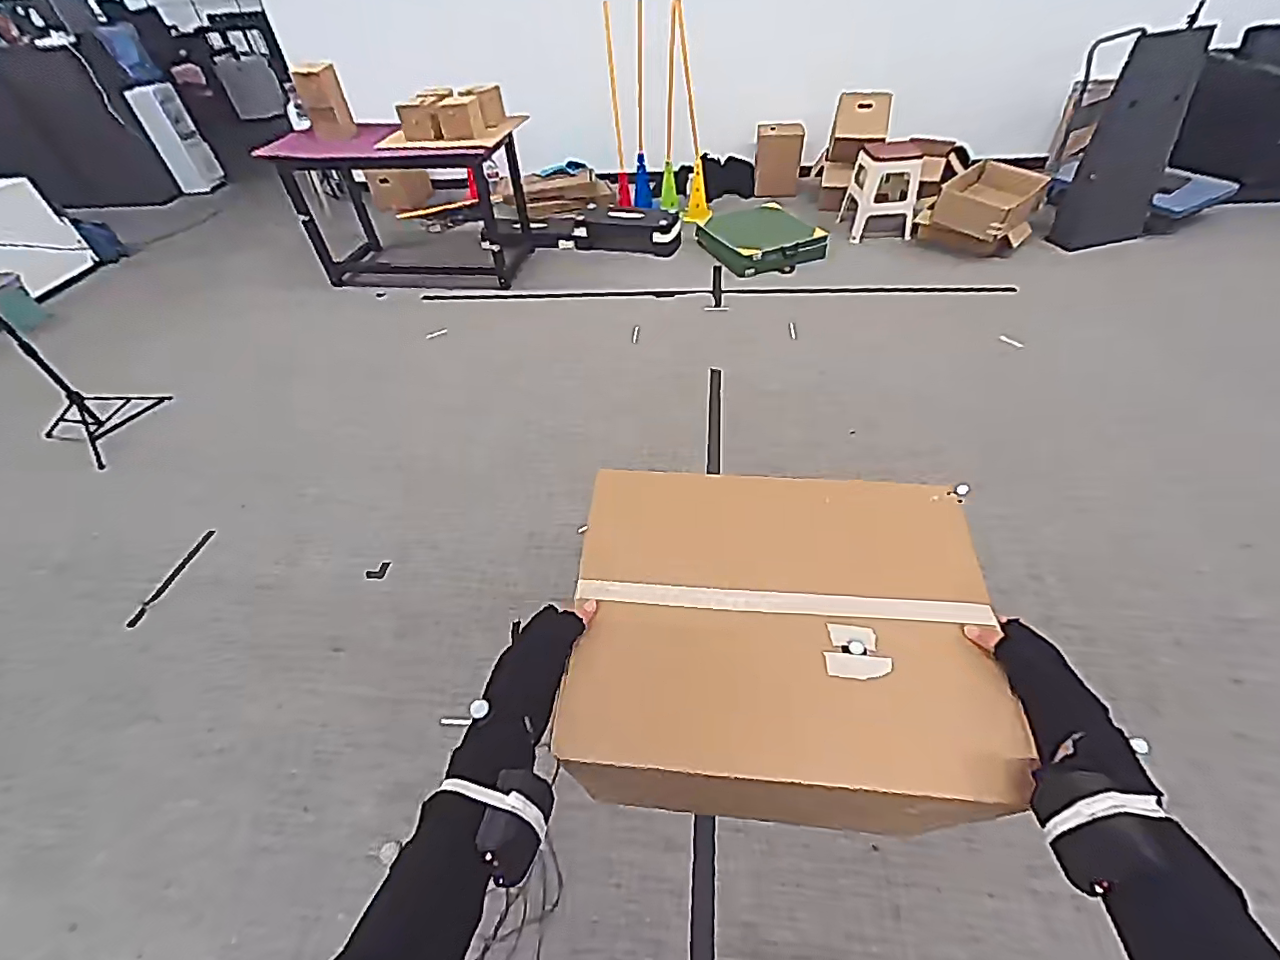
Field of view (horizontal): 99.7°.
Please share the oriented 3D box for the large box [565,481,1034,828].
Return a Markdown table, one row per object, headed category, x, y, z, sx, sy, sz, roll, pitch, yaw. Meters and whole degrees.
| category | x | y | z | sx | sy | sz | roll | pitch | yaw |
| --- | --- | --- | --- | --- | --- | --- | --- | --- | --- |
| large box | 0.147 | 0.219 | 0.666 | 0.408 | 0.320 | 0.320 | 3 | 55 | 6 |
